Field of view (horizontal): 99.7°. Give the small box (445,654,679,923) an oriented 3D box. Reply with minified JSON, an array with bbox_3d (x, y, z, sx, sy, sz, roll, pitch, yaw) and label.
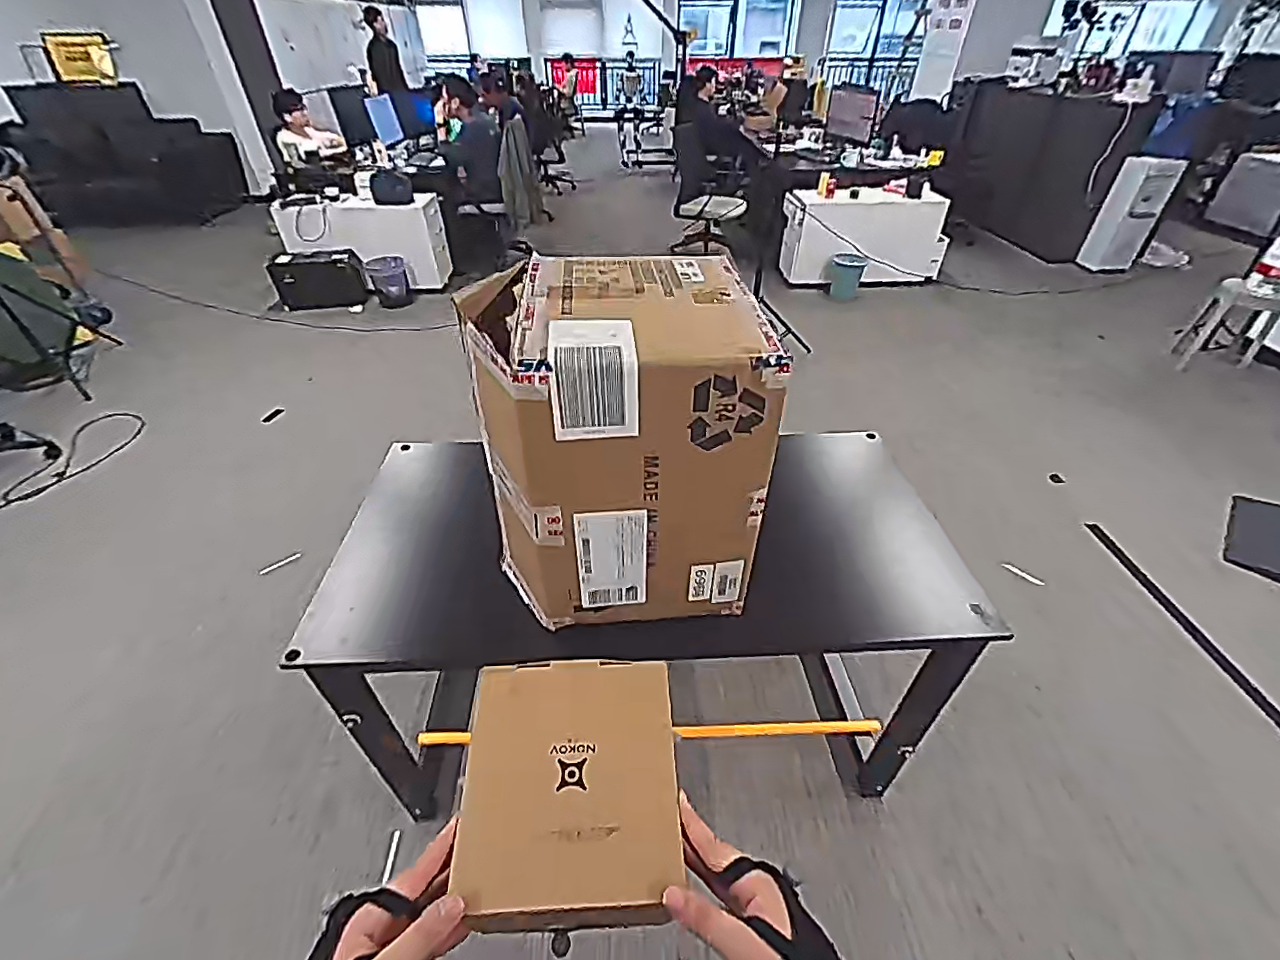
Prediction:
[{"bbox_3d":[-0.060,0.277,0.488,0.168,0.176,0.179,0,47,-3],"label":"small box"}]
